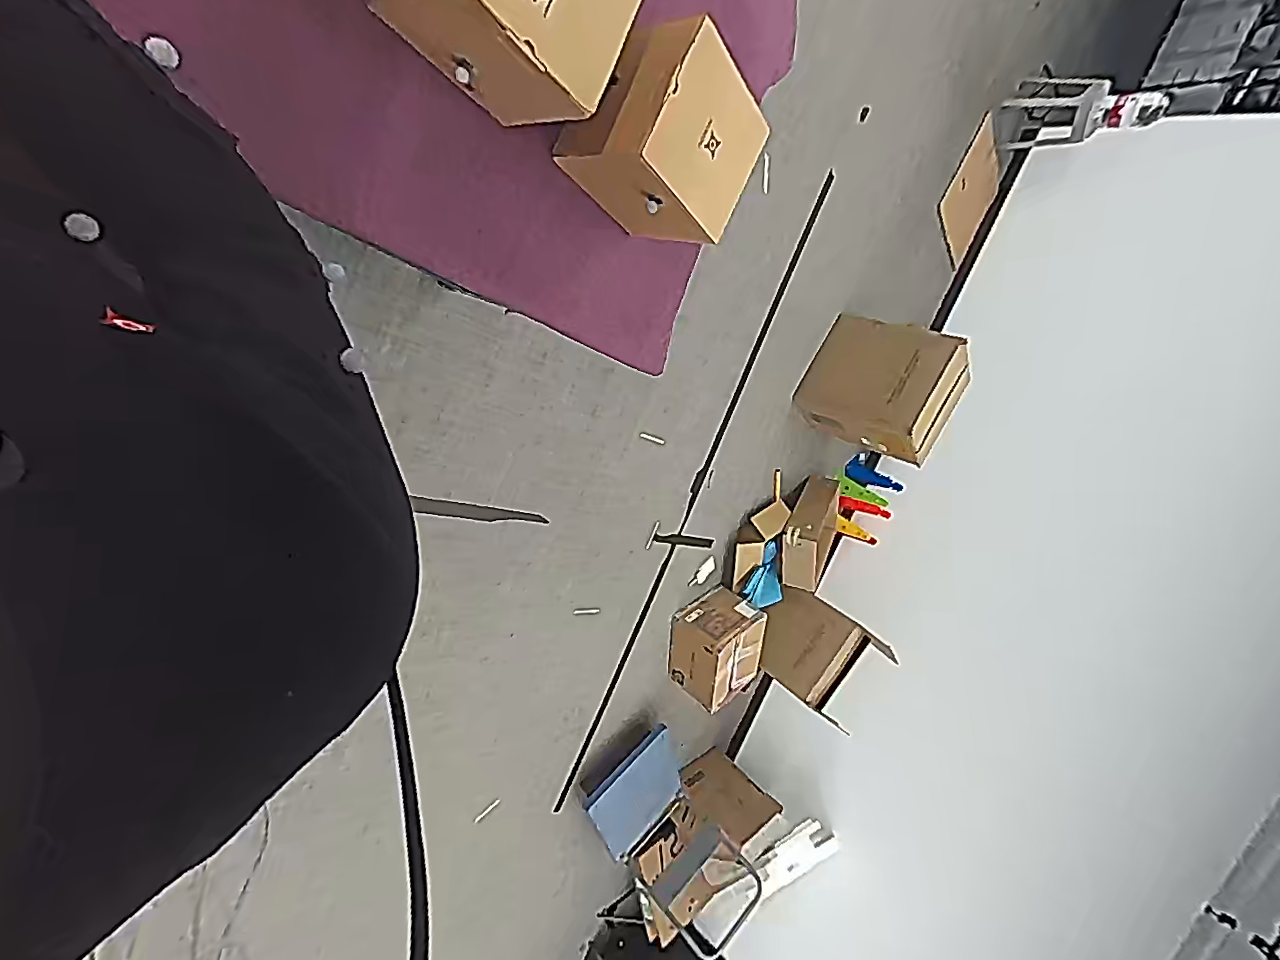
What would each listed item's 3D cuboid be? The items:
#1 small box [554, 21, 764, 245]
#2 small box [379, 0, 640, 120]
[{"bbox_3d":[0.024,-0.435,0.701,0.179,0.176,0.168,22,94,-51],"label":"small box"},{"bbox_3d":[-0.119,-0.480,0.511,0.168,0.176,0.179,18,98,-51],"label":"small box"}]
